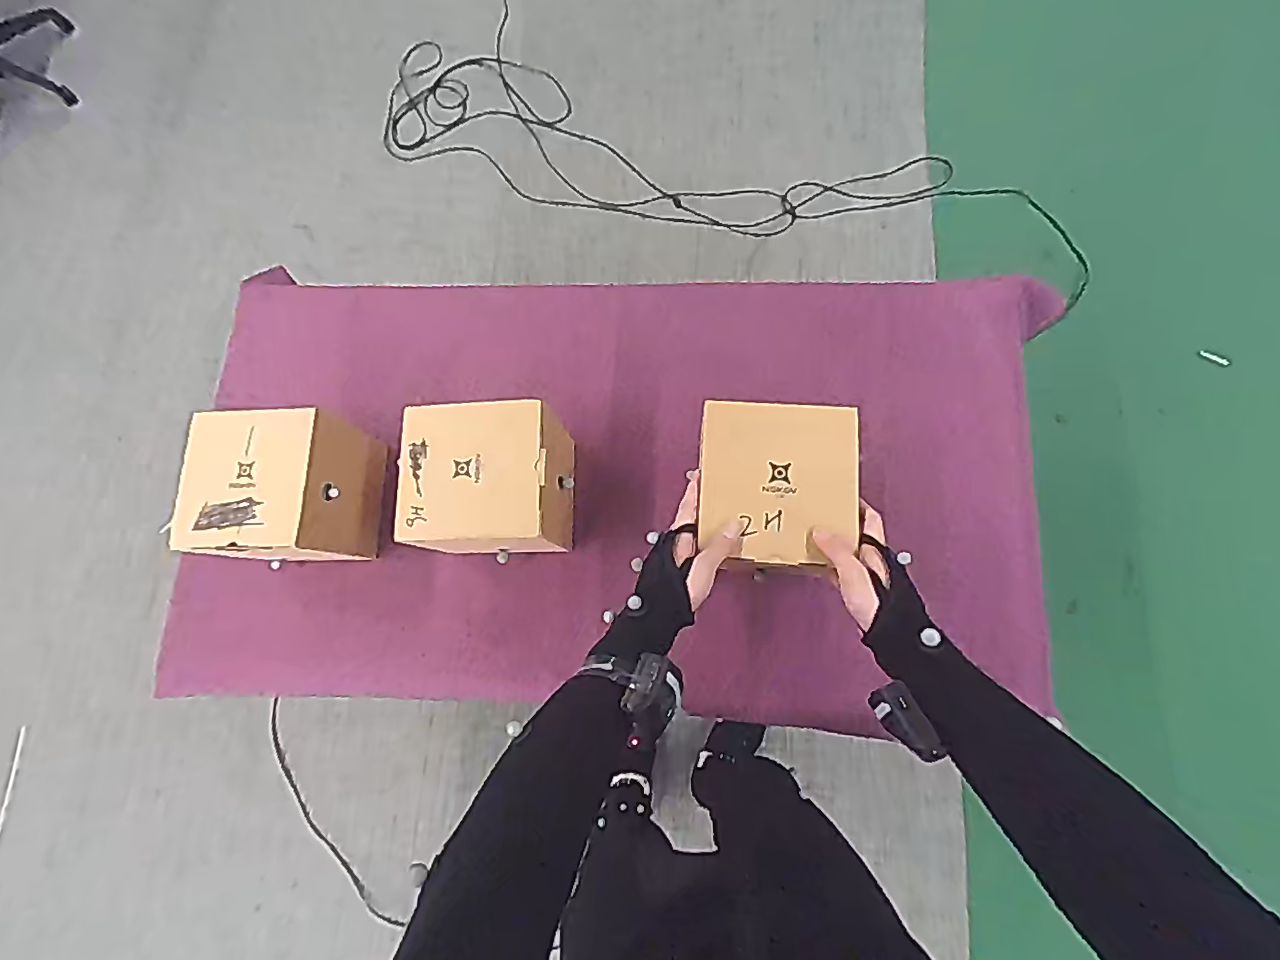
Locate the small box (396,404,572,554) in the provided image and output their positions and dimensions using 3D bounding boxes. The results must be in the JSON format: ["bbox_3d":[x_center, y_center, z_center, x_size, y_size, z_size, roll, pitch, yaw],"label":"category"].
[{"bbox_3d":[-0.189,0.006,0.709,0.179,0.176,0.168,-1,77,5],"label":"small box"}]

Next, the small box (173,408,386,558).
[{"bbox_3d":[-0.470,0.013,0.735,0.168,0.176,0.179,-1,76,5],"label":"small box"}]

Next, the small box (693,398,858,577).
[{"bbox_3d":[0.153,0.018,0.650,0.168,0.176,0.179,4,78,6],"label":"small box"}]
